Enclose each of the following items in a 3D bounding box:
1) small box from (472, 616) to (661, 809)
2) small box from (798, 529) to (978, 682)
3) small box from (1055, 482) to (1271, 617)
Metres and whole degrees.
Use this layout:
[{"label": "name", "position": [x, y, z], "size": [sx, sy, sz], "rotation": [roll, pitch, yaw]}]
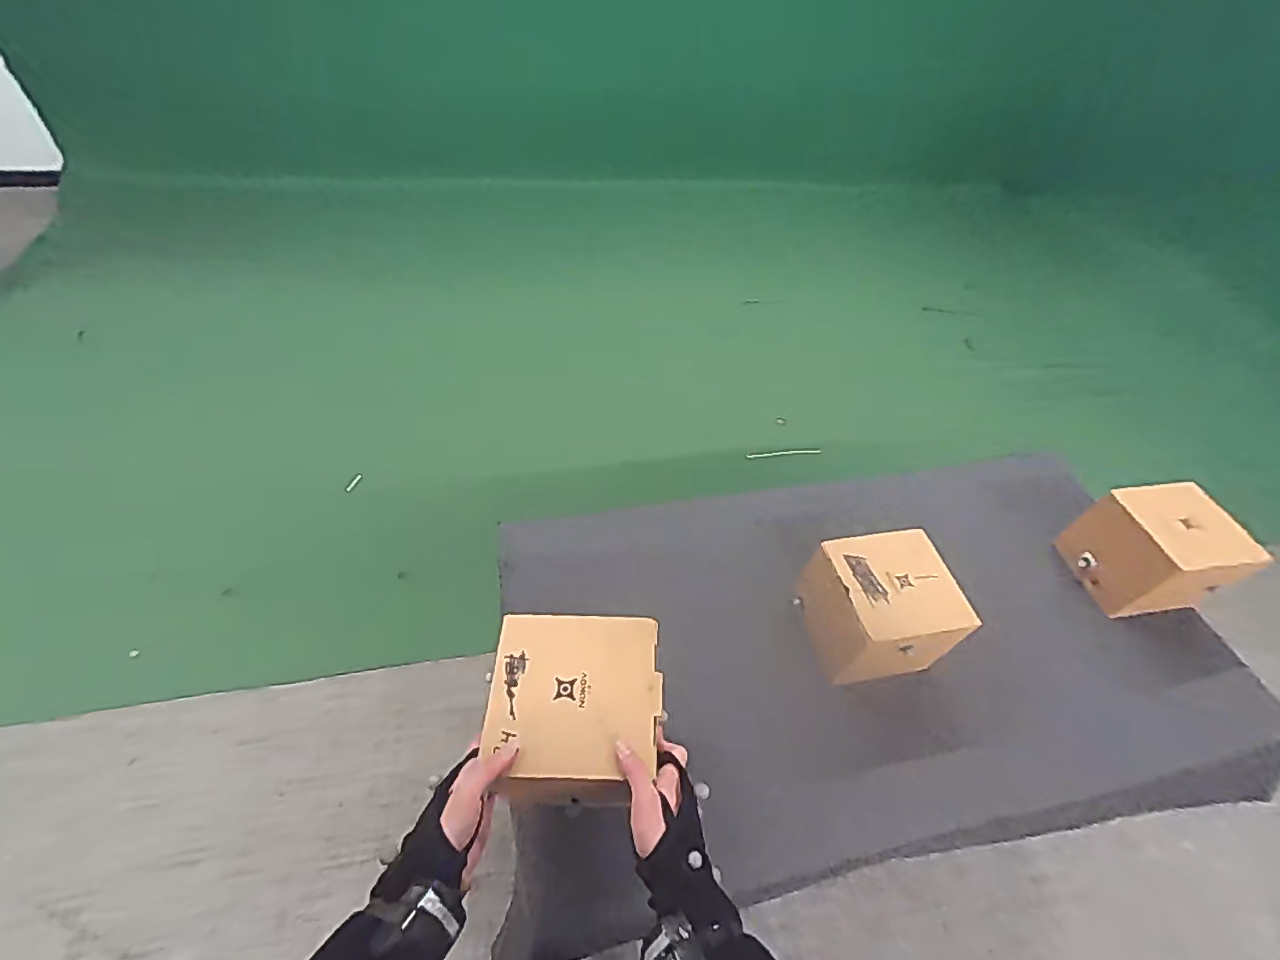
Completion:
[{"label": "small box", "position": [-0.071, 0.270, 0.620], "size": [0.179, 0.176, 0.168], "rotation": [3, 53, 0]}, {"label": "small box", "position": [0.363, 0.198, 0.840], "size": [0.179, 0.176, 0.168], "rotation": [-5, 52, -11]}, {"label": "small box", "position": [0.898, 0.124, 0.951], "size": [0.179, 0.176, 0.168], "rotation": [-6, 50, -8]}]
